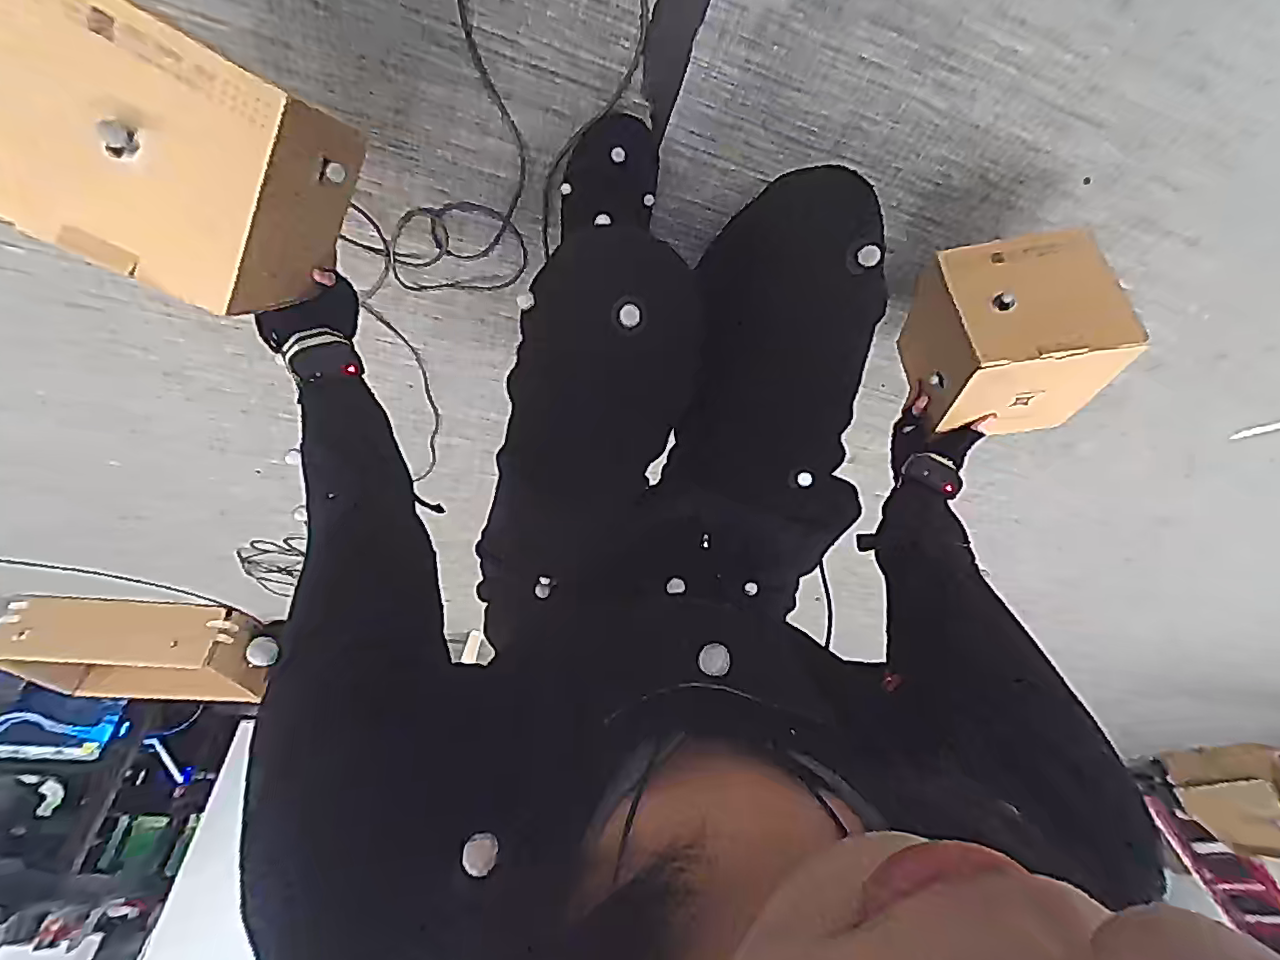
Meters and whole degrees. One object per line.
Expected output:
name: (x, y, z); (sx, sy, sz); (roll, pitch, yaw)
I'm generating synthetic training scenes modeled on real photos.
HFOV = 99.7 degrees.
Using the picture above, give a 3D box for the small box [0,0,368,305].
small box: (-0.350, -0.260, 0.432); (0.168, 0.179, 0.176); (25, 105, -16)

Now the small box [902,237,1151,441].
small box: (0.442, -0.170, 0.659); (0.168, 0.176, 0.179); (-7, 156, 7)
